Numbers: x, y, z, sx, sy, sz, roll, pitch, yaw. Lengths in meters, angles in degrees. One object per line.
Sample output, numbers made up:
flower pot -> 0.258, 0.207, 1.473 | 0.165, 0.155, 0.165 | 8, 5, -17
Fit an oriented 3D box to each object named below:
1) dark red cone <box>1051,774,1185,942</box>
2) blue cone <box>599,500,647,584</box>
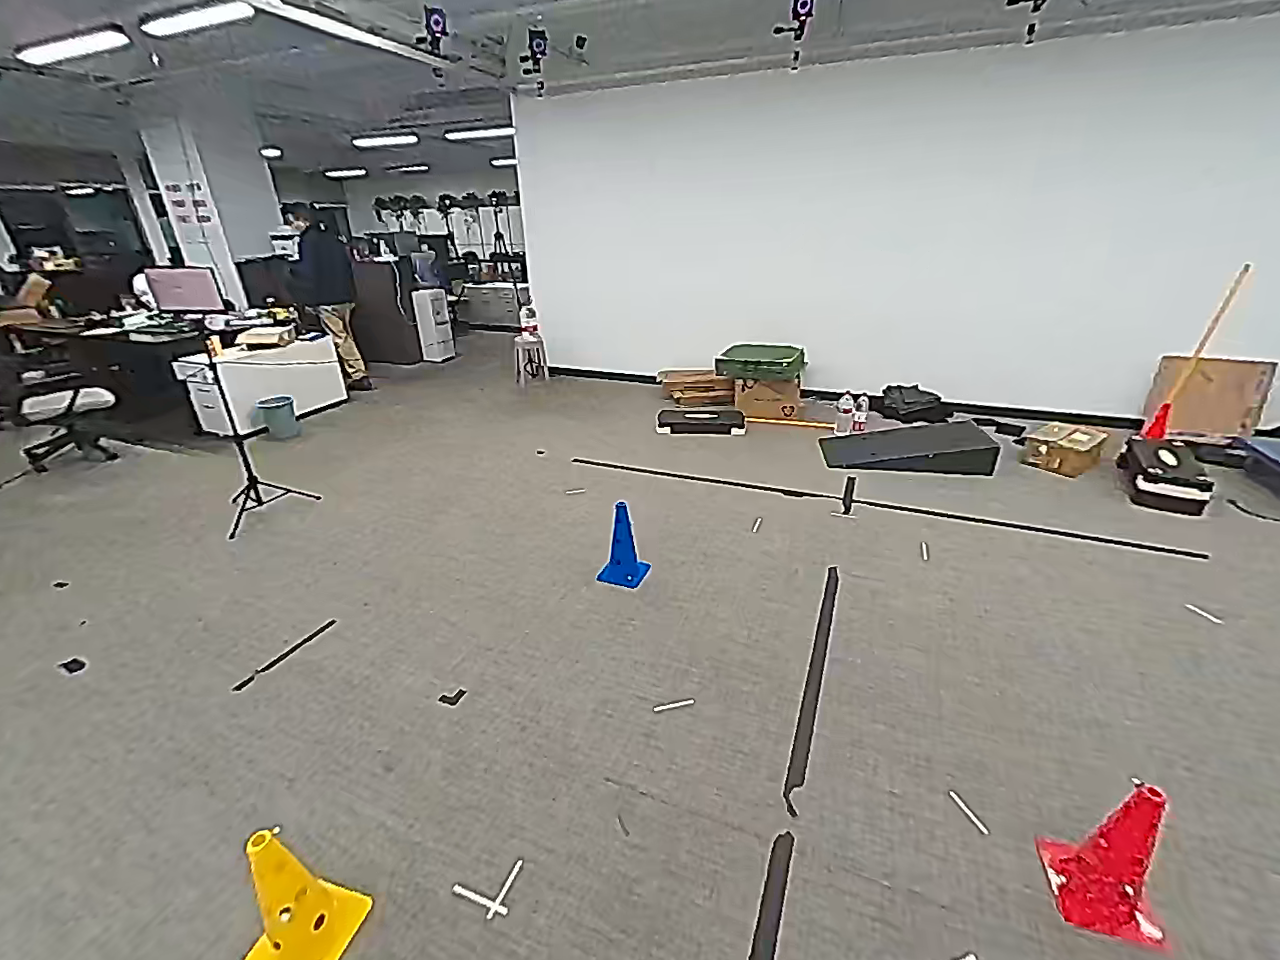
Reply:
dark red cone -> 1.083, 0.785, 1.178 | 0.201, 0.394, 0.202 | 5, 26, 15
blue cone -> -0.080, 0.262, 2.391 | 0.192, 0.380, 0.193 | 9, 27, 22
